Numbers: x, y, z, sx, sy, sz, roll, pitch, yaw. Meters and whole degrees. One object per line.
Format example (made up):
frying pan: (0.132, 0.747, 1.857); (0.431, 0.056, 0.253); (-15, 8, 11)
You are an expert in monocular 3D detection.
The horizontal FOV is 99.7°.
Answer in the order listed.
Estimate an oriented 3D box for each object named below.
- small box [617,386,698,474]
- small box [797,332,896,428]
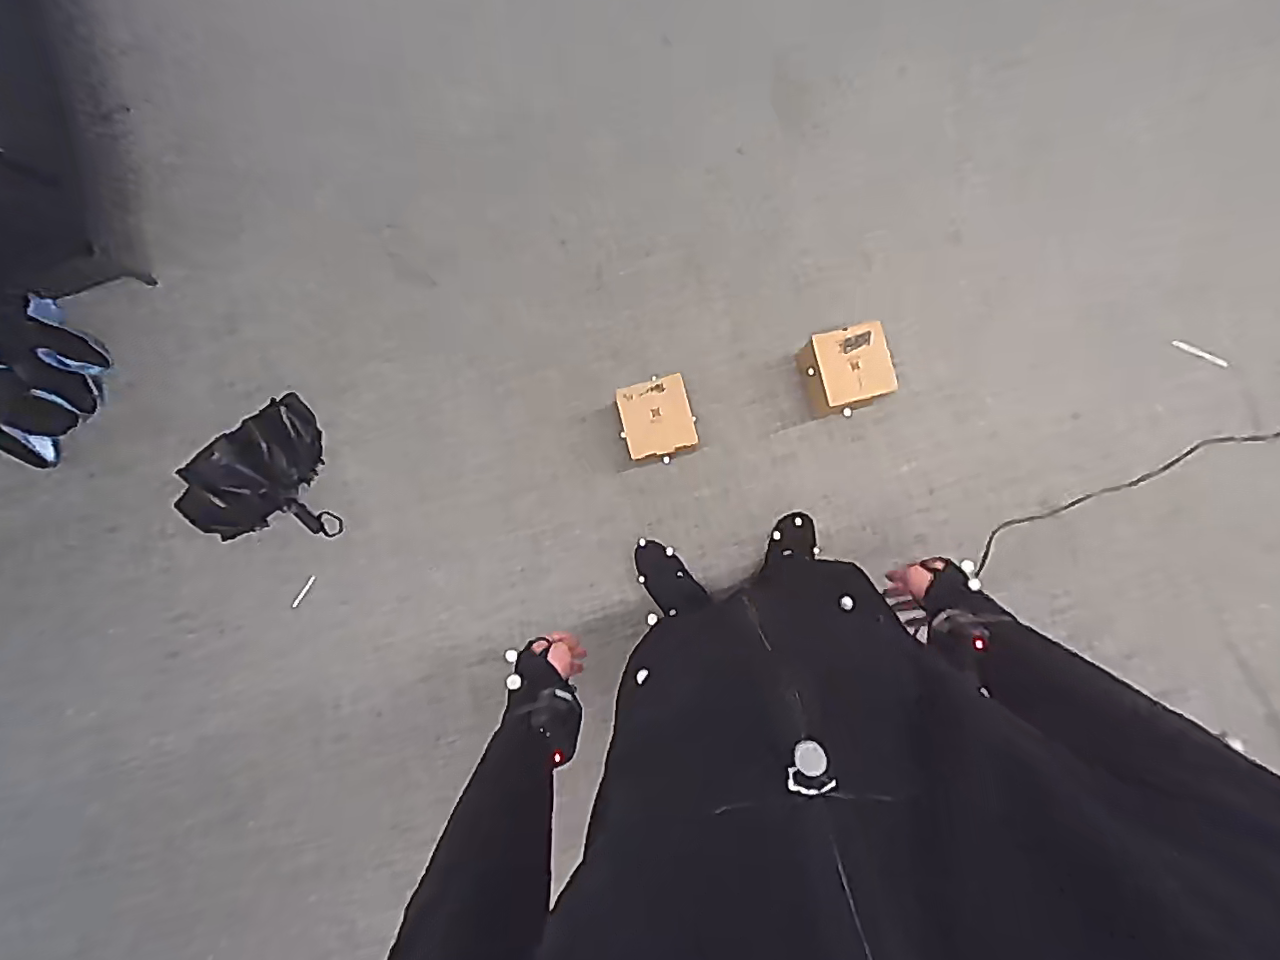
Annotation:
small box: (0.047, -0.118, 1.373); (0.168, 0.176, 0.179); (-14, 84, 2)
small box: (0.507, -0.244, 1.357); (0.168, 0.176, 0.179); (-14, 85, 3)
